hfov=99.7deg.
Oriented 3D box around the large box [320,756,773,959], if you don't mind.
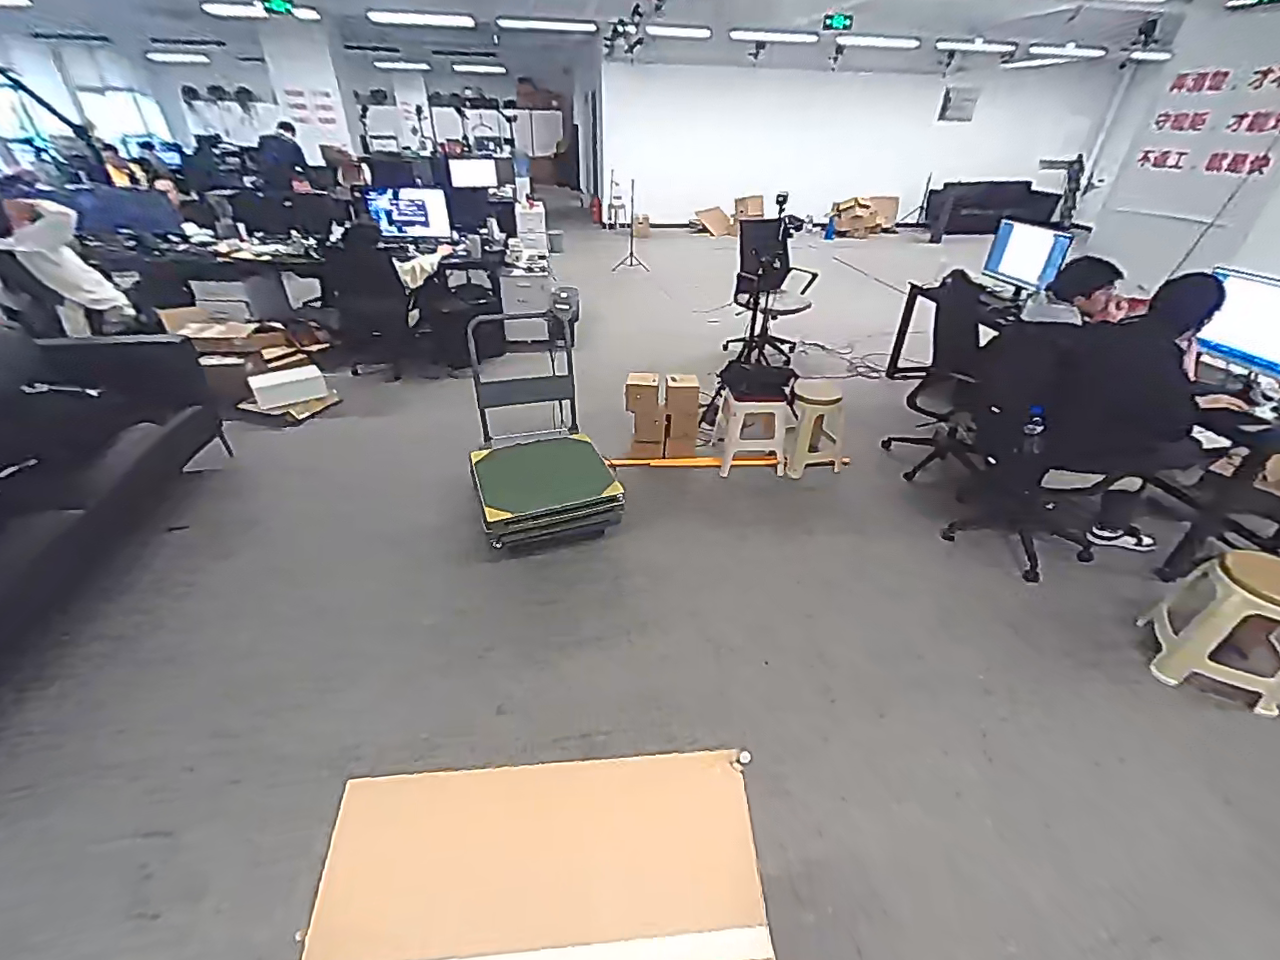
[{"bbox_3d":[-0.084,0.522,0.583,0.408,0.320,0.320,-3,51,-4],"label":"large box"}]
